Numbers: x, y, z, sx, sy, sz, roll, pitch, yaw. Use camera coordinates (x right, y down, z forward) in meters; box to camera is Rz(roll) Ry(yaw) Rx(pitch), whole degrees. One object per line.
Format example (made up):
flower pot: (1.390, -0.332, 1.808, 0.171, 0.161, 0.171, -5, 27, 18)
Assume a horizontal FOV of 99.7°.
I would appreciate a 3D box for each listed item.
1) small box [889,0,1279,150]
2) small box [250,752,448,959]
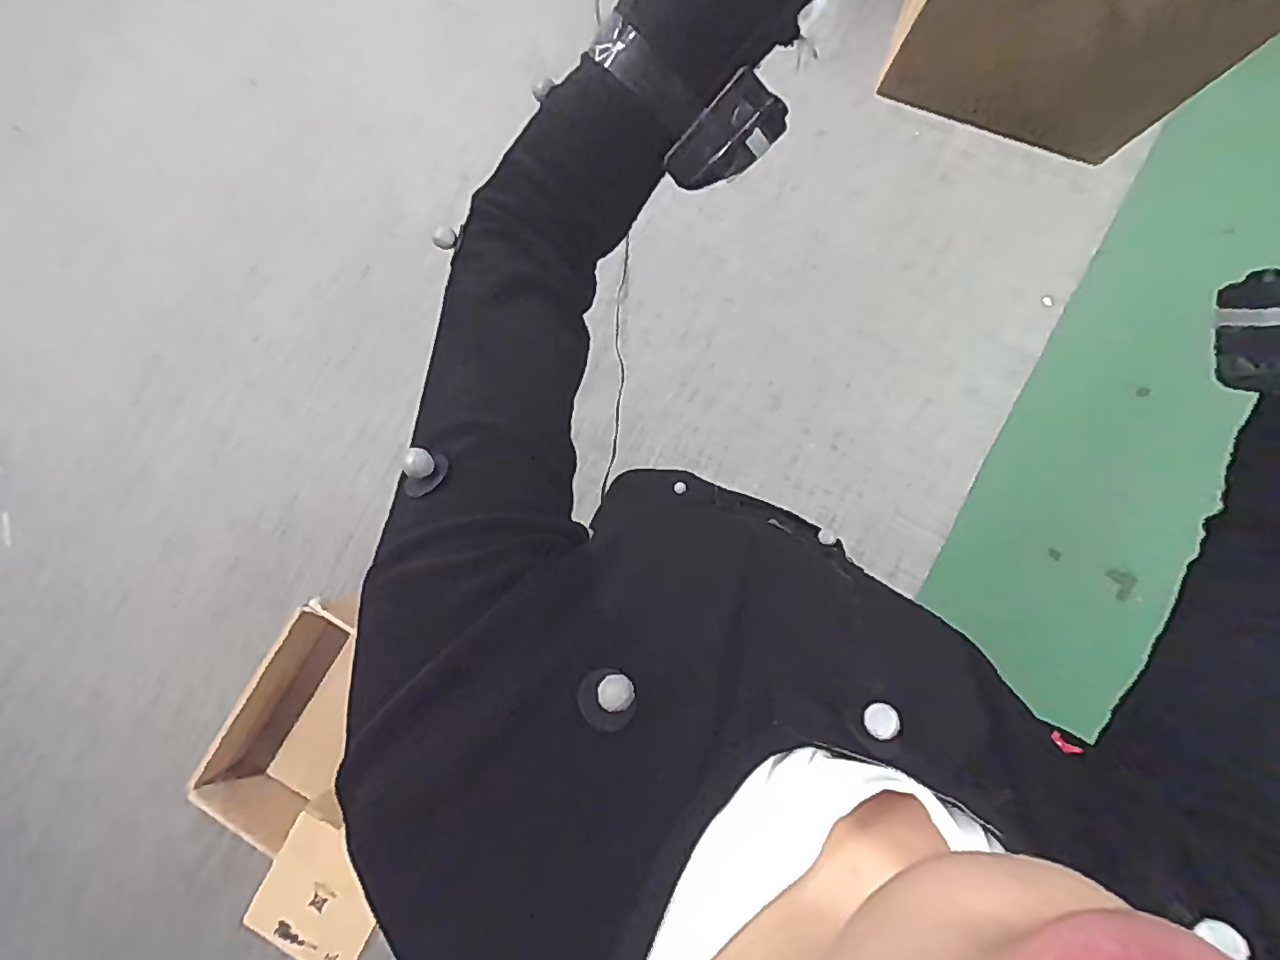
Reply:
small box: (0.282, -0.339, 0.321, 0.179, 0.176, 0.168, 19, 89, 0)
small box: (-0.417, 0.552, 0.814, 0.168, 0.176, 0.179, 29, 88, 6)
